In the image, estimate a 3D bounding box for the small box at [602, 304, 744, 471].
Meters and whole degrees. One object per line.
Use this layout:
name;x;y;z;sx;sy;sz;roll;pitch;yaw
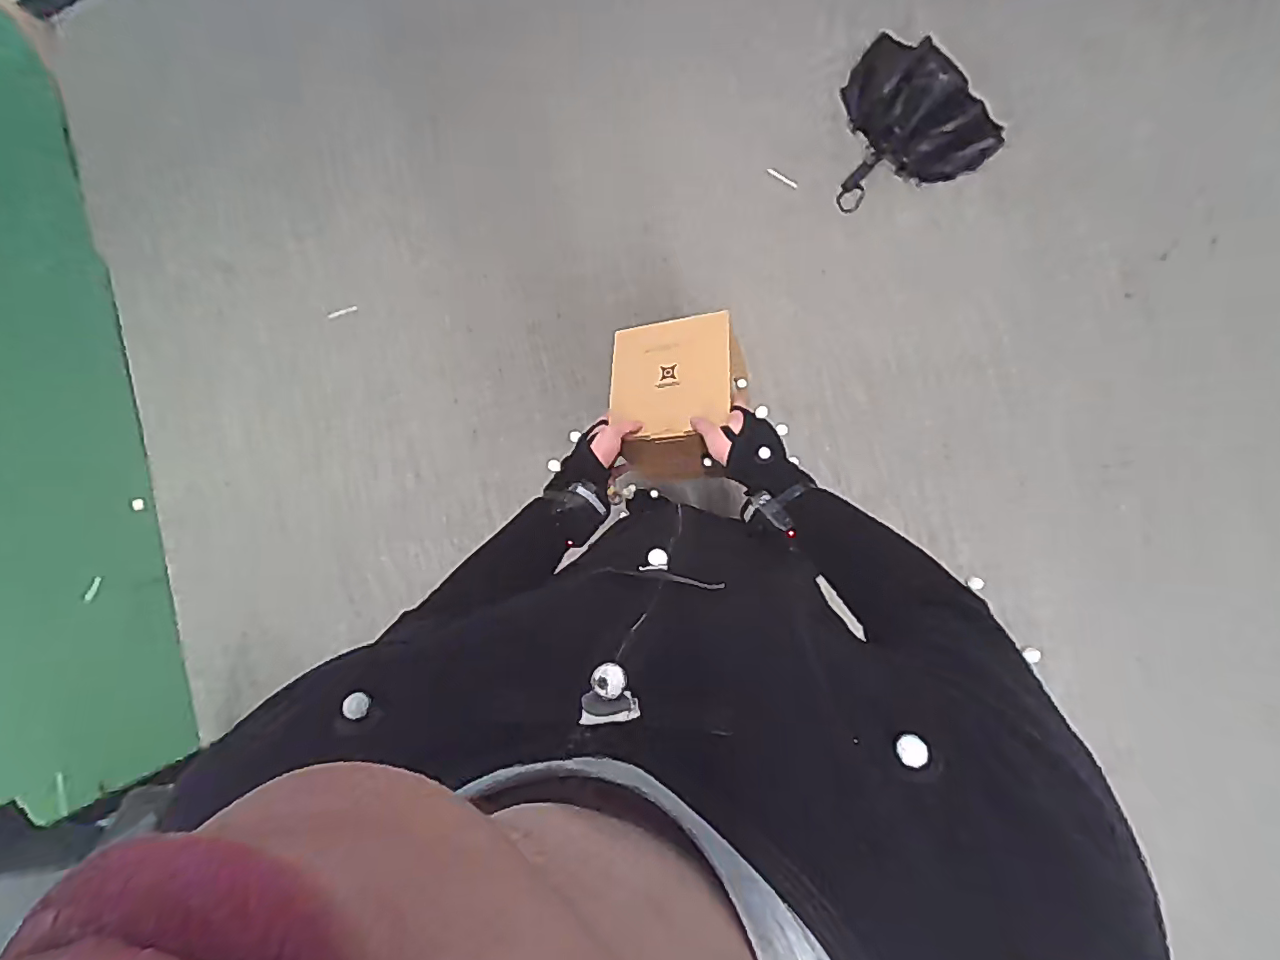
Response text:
small box;0.055;-0.120;0.786;0.168;0.176;0.179;-5;67;18
